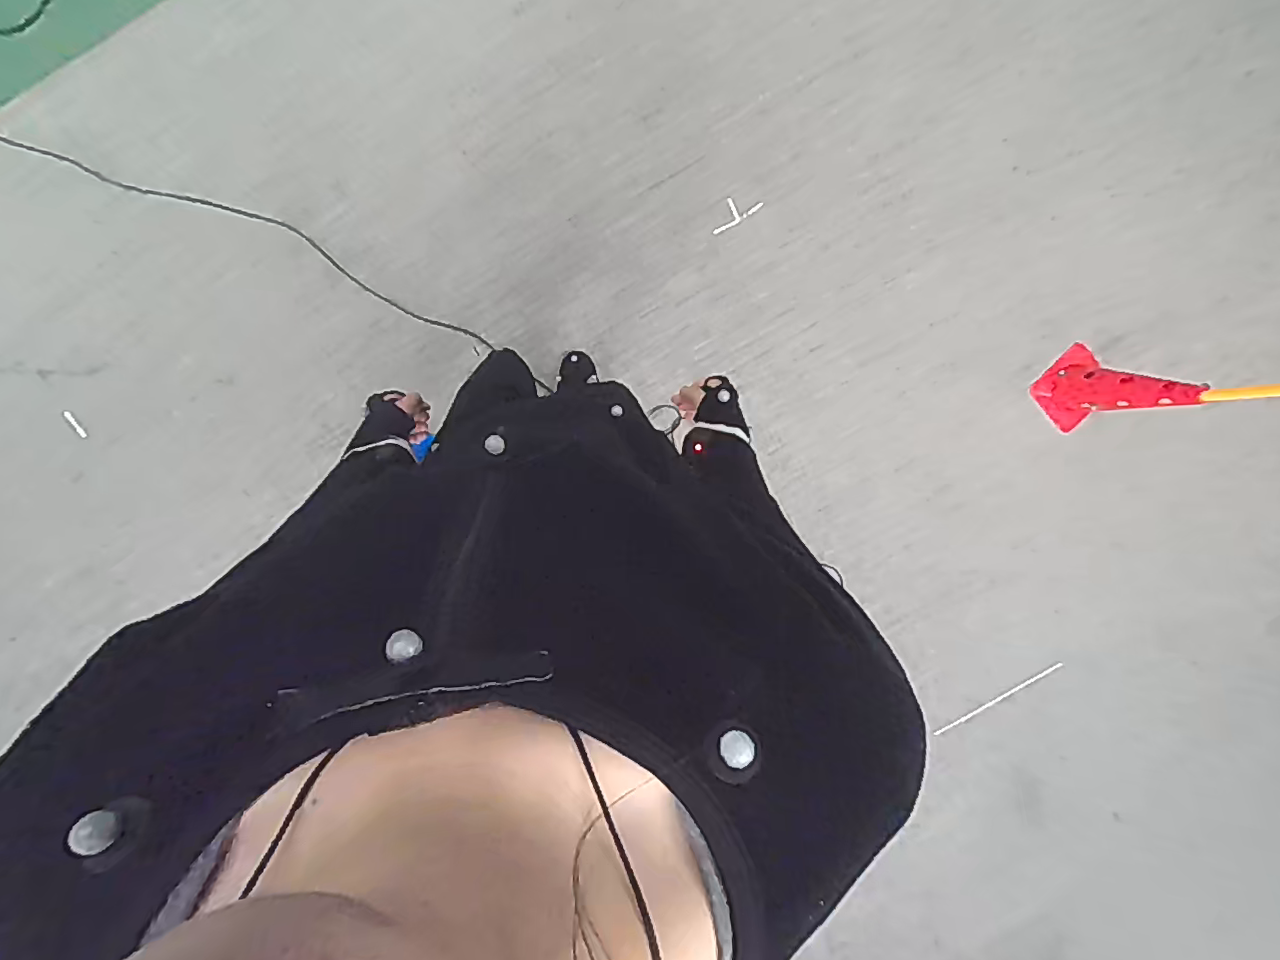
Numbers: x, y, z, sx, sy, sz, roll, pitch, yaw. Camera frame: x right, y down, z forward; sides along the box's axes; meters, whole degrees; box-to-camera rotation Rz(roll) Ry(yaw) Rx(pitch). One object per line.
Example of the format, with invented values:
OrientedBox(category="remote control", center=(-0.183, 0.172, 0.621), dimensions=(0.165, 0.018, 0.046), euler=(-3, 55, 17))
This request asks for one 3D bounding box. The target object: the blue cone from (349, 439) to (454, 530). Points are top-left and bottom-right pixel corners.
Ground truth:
OrientedBox(category="blue cone", center=(-0.582, 0.039, 1.277), dimensions=(0.192, 0.380, 0.193), euler=(14, 103, -10))
